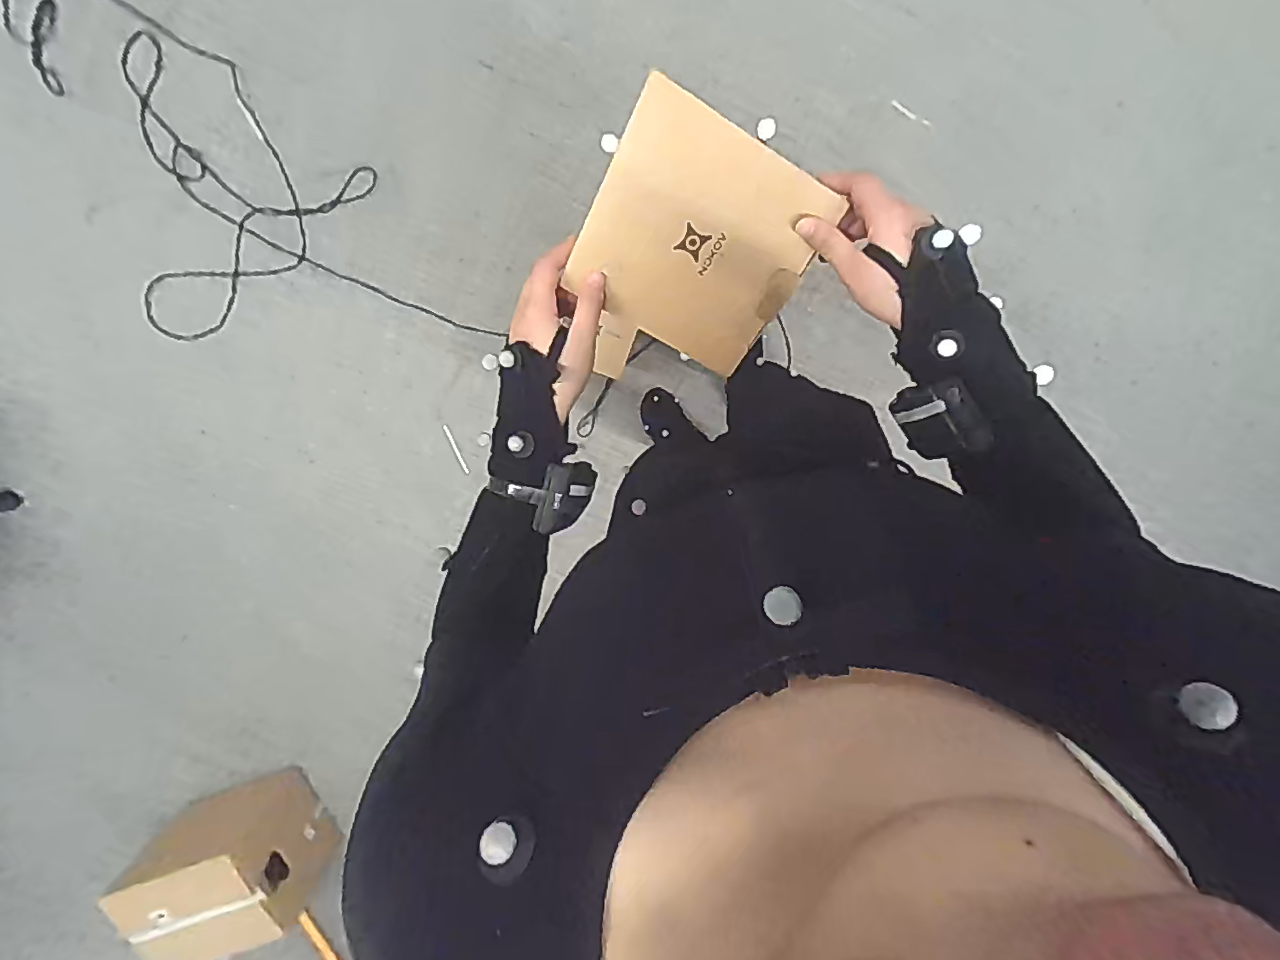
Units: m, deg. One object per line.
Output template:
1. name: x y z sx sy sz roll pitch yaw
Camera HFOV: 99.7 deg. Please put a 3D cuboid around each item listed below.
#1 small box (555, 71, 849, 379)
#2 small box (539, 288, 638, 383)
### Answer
1. small box: 0.045 -0.226 0.487 0.179 0.176 0.168 24 123 -15
2. small box: -0.095 -0.315 1.149 0.179 0.176 0.168 19 103 -6
